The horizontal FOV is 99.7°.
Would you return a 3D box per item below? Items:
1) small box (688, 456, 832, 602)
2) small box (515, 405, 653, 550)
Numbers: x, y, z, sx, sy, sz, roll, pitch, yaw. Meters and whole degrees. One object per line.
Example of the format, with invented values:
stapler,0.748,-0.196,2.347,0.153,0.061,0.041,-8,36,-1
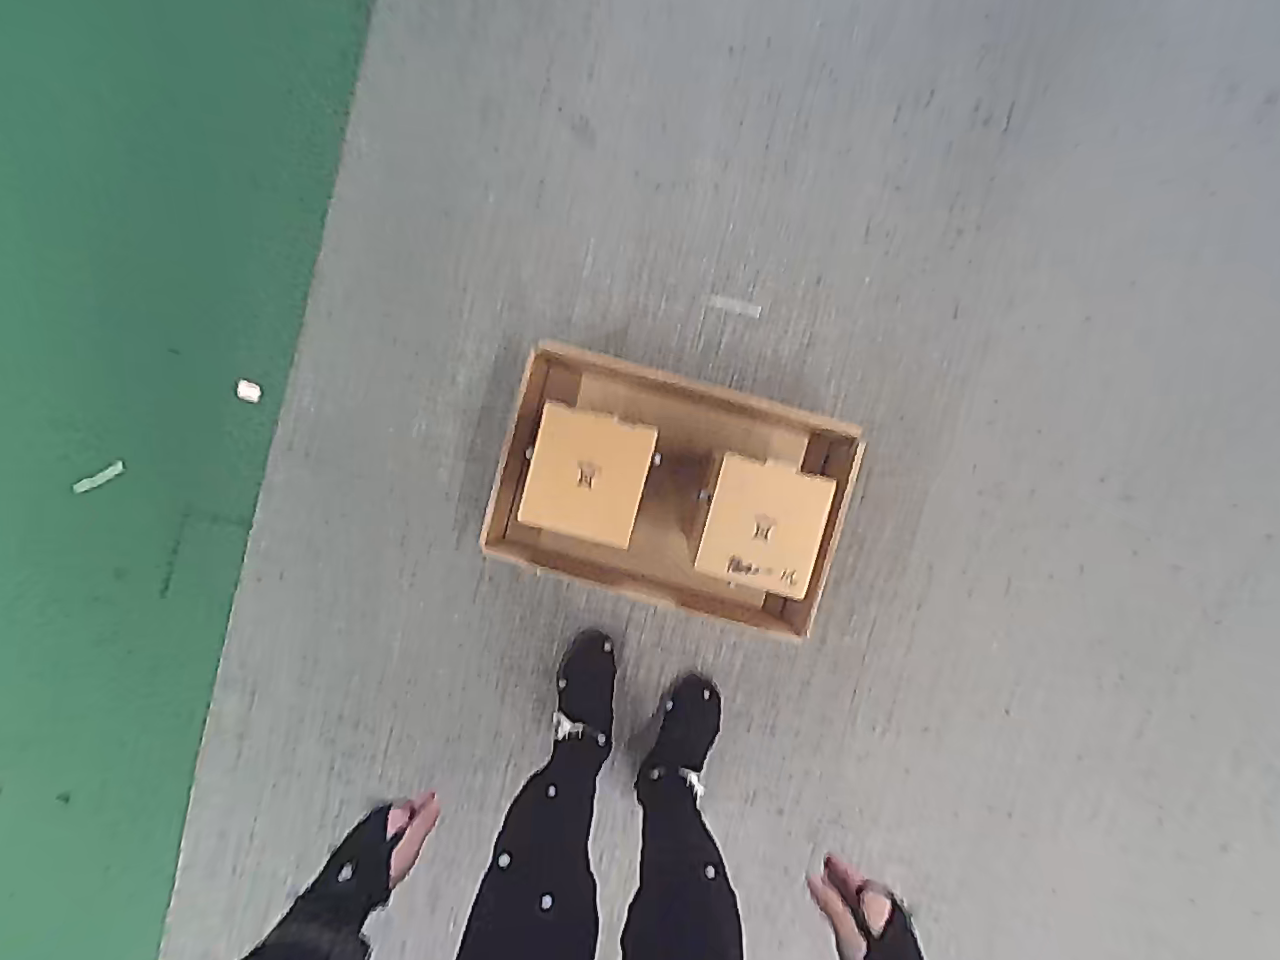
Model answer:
small box,0.175,0.070,0.849,0.168,0.176,0.179,16,90,2
small box,-0.080,-0.005,0.849,0.168,0.176,0.179,15,91,-1
